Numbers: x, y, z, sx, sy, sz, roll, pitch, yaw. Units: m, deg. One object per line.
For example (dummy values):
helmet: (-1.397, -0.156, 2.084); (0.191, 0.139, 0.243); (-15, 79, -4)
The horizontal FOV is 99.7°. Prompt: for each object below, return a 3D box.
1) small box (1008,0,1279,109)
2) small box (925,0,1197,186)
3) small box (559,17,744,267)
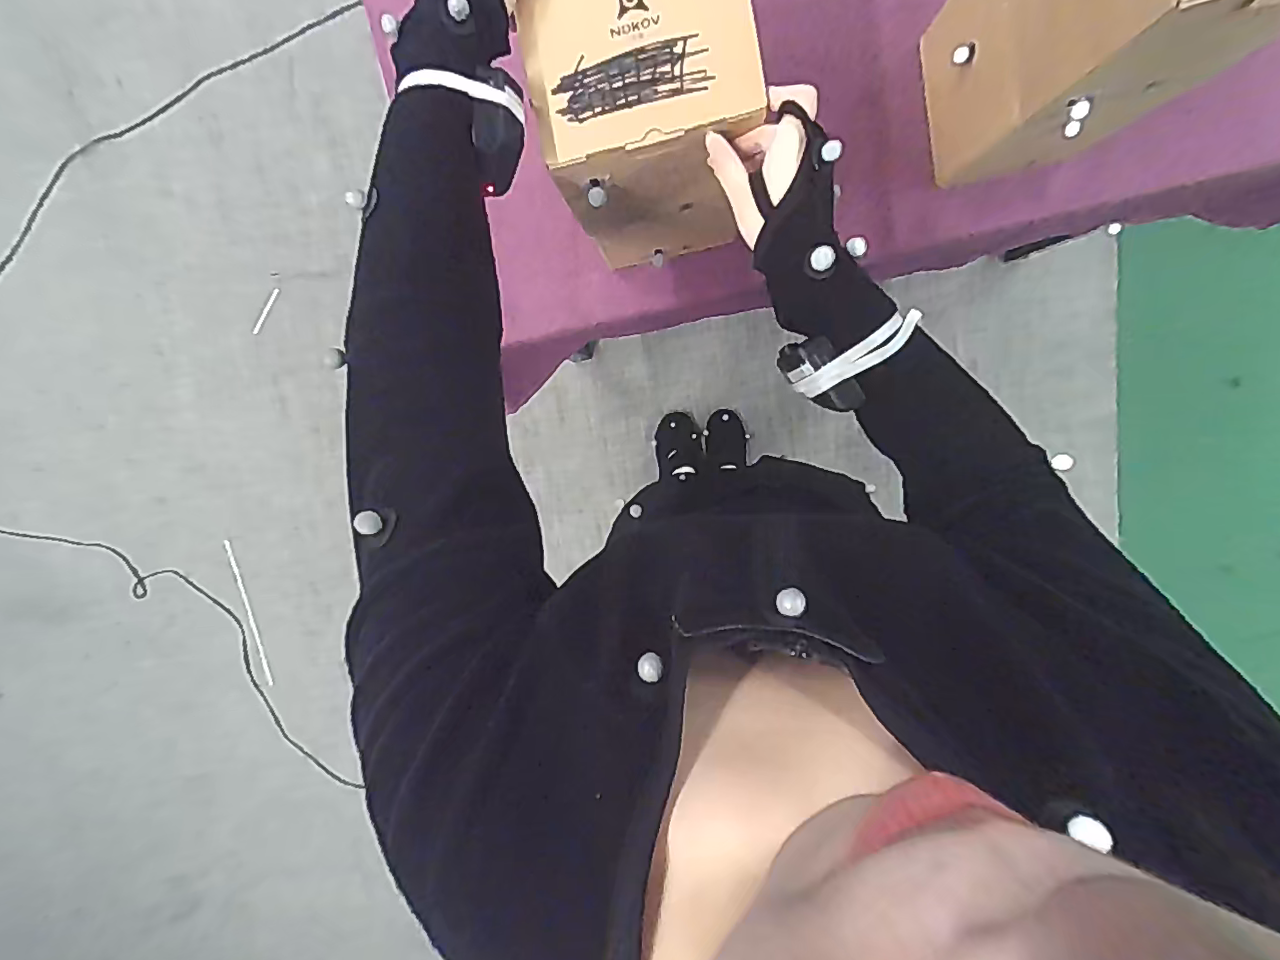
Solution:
small box: (0.416, -0.423, 0.416); (0.168, 0.176, 0.179); (-12, 98, 6)
small box: (0.428, -0.451, 0.578); (0.168, 0.176, 0.179); (-11, 98, 7)
small box: (0.018, -0.367, 0.624); (0.168, 0.176, 0.179); (-10, 99, 7)
